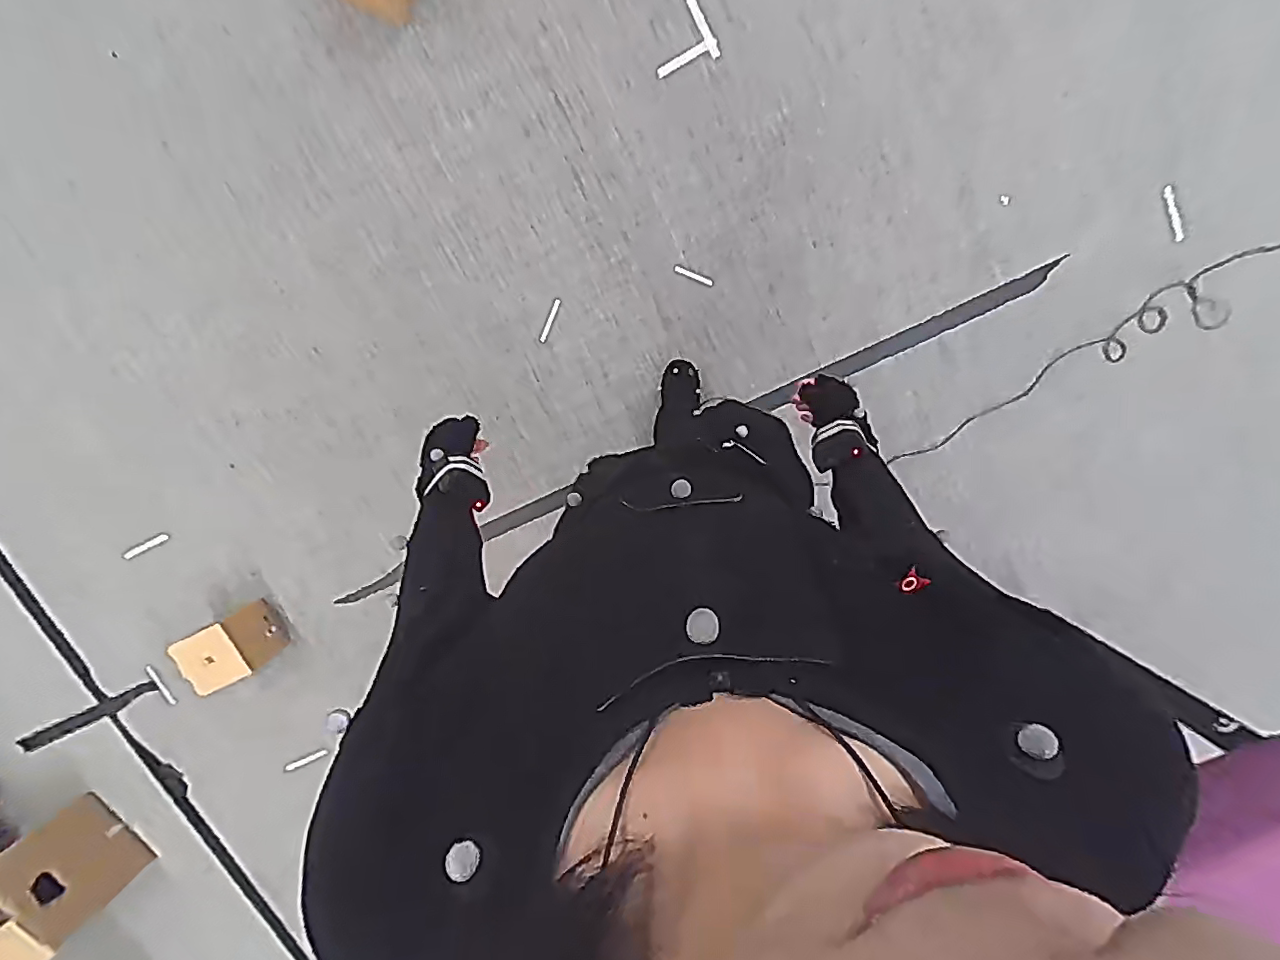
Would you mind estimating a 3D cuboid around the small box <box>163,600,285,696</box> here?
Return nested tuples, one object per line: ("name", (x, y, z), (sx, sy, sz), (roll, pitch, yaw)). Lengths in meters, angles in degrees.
("small box", (-1.167, 0.469, 1.531), (0.179, 0.176, 0.168), (-26, 100, 4))

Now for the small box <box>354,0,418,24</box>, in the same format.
("small box", (-0.612, -1.195, 1.222), (0.179, 0.176, 0.168), (24, 100, -5))
